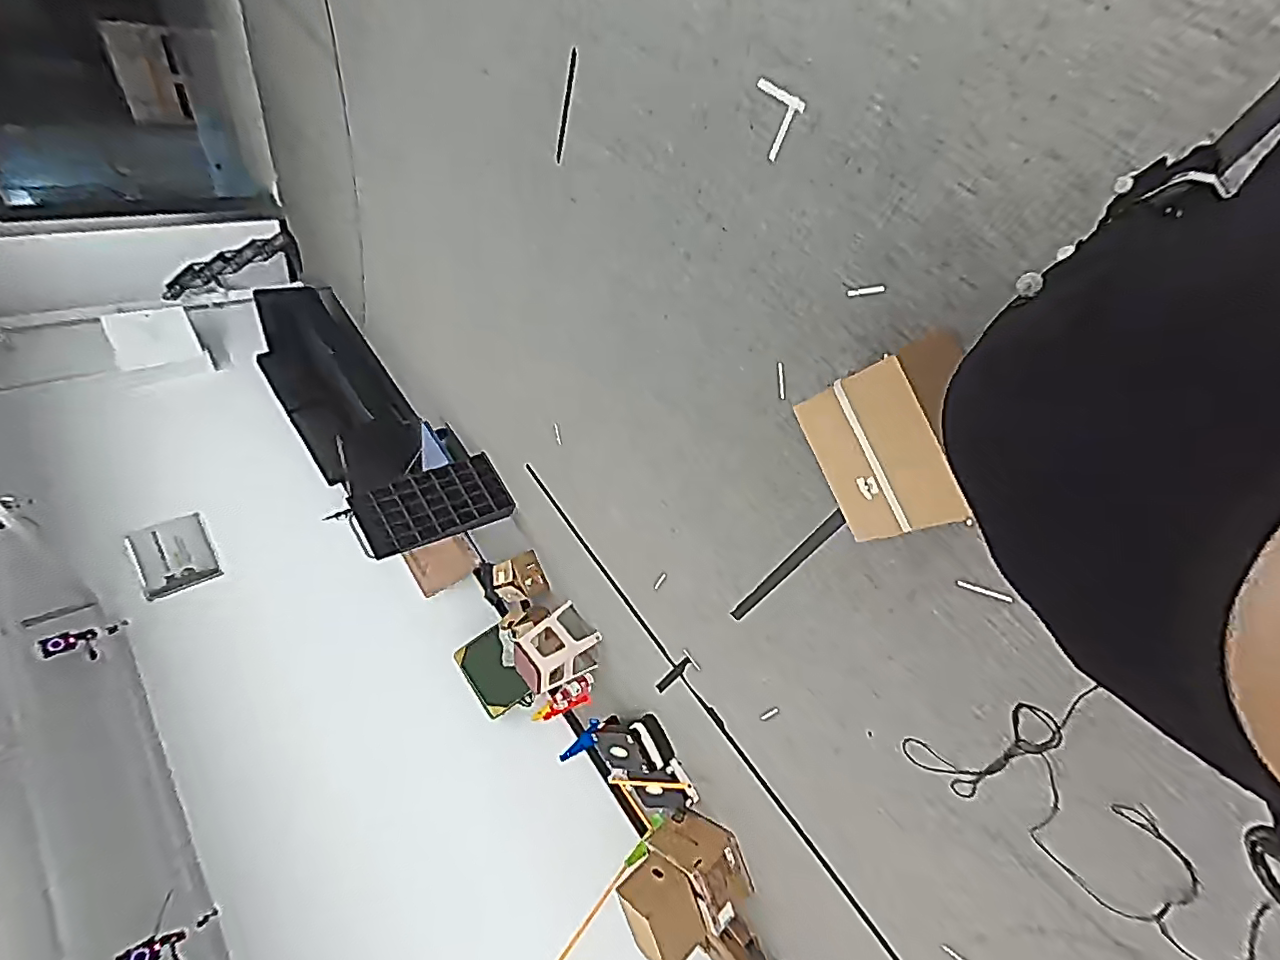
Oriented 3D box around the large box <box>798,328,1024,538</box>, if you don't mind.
[{"bbox_3d":[0.689,-0.117,1.388,0.320,0.320,0.408,-28,88,55],"label":"large box"}]
